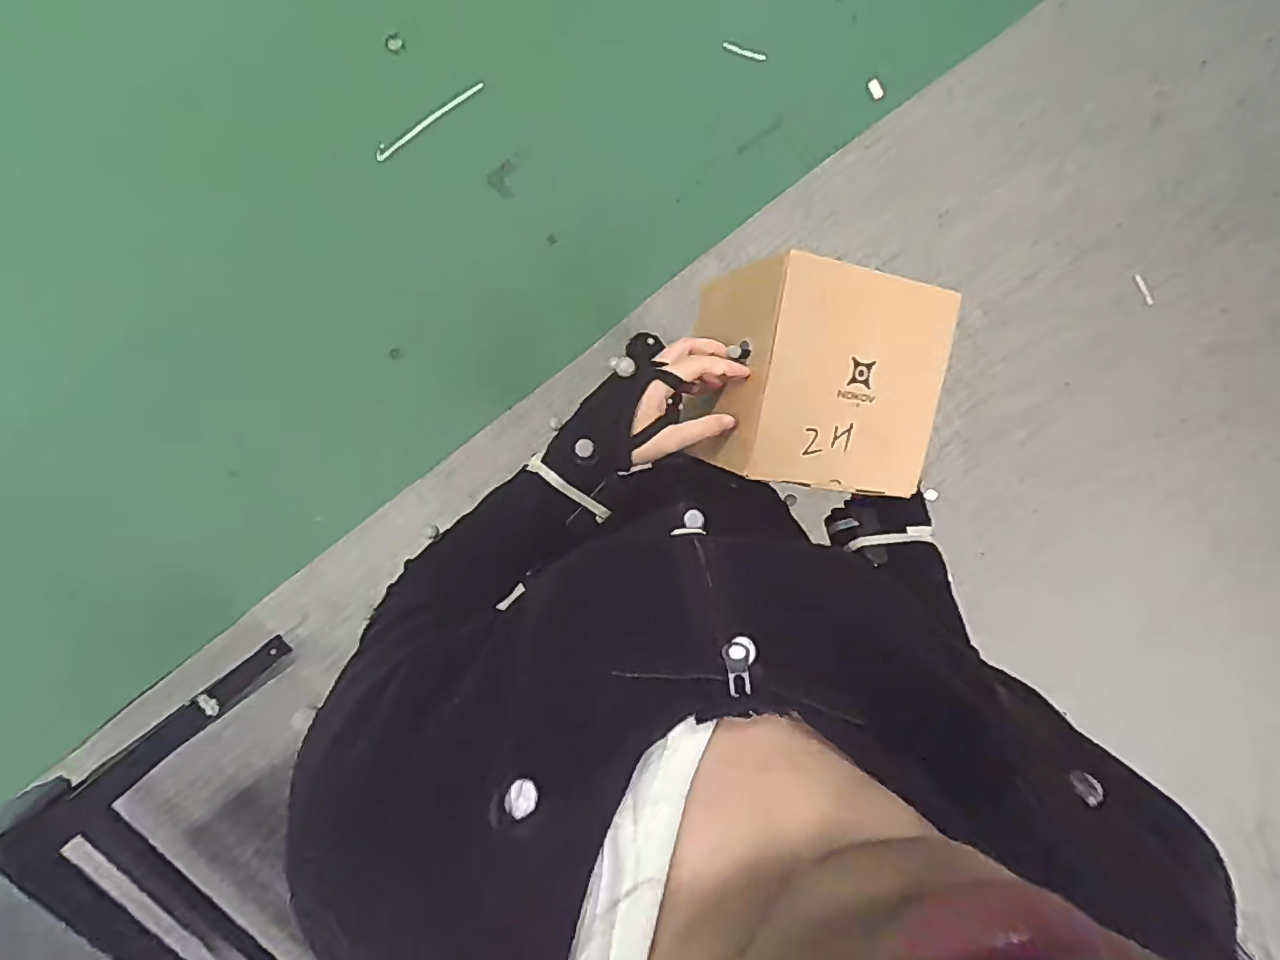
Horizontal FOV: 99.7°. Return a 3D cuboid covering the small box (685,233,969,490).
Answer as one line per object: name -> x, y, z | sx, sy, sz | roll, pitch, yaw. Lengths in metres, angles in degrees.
small box -> 0.154, -0.098, 0.497 | 0.168, 0.176, 0.179 | 6, 98, -19
